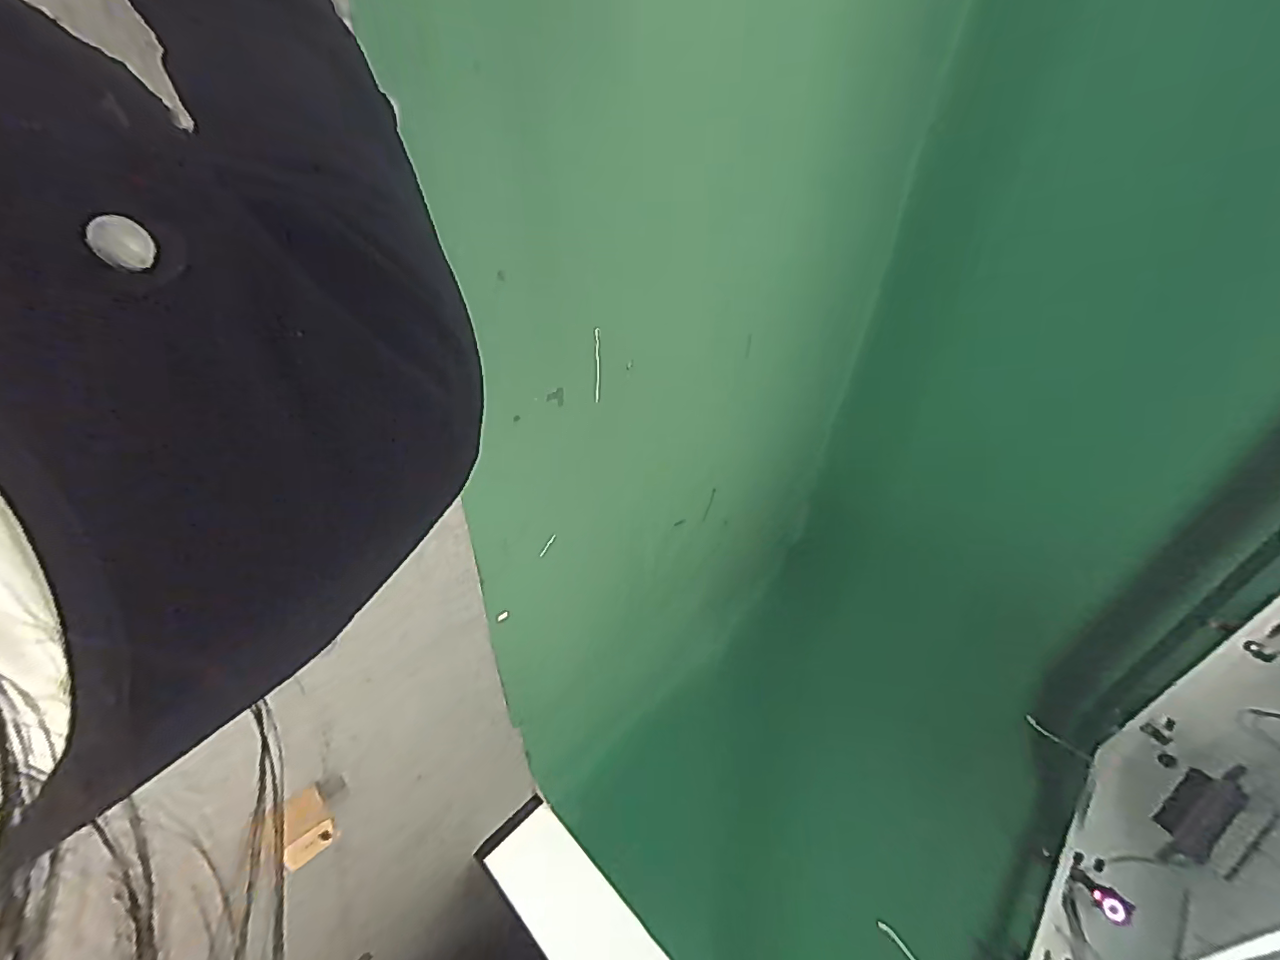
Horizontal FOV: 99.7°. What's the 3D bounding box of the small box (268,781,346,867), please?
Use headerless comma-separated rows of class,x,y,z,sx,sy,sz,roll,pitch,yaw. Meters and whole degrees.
small box,-1.227,1.261,1.993,0.179,0.176,0.168,-29,138,-36
